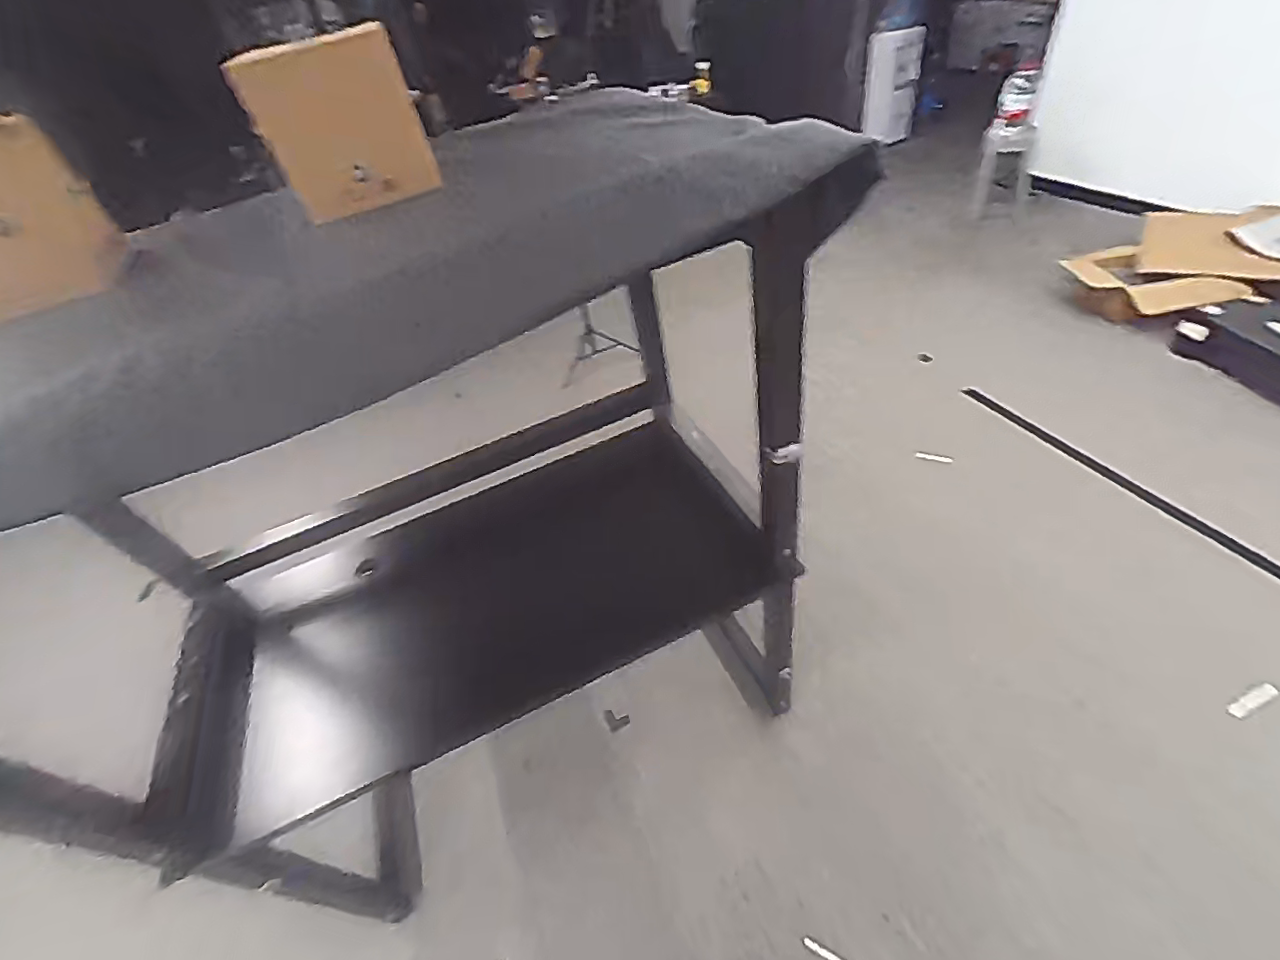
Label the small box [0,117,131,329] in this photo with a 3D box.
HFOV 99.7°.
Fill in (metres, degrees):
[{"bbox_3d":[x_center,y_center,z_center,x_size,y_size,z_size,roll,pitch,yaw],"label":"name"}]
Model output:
[{"bbox_3d":[-0.754,-0.290,0.624,0.179,0.176,0.168,-25,46,-13],"label":"small box"}]
